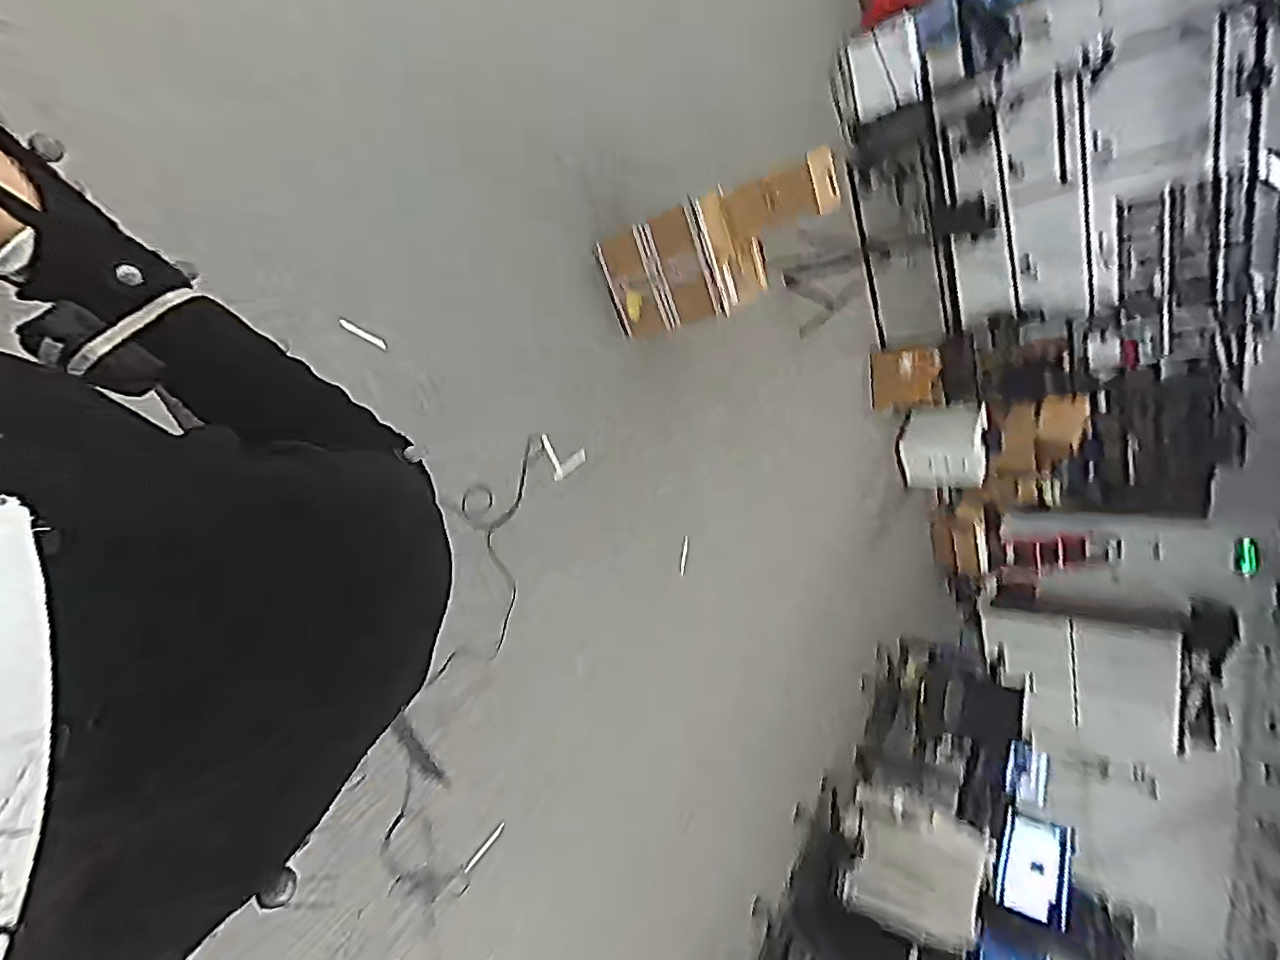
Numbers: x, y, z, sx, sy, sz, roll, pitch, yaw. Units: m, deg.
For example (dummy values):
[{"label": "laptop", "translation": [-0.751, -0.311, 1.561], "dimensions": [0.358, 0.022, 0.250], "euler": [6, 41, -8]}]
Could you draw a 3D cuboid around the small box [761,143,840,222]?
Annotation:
[{"label": "small box", "translation": [0.519, -0.961, 1.753], "dimensions": [0.179, 0.176, 0.168], "euler": [-39, 116, -37]}]

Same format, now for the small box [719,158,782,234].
[{"label": "small box", "translation": [0.399, -0.976, 1.866], "dimensions": [0.179, 0.176, 0.168], "euler": [-43, 118, -36]}]
